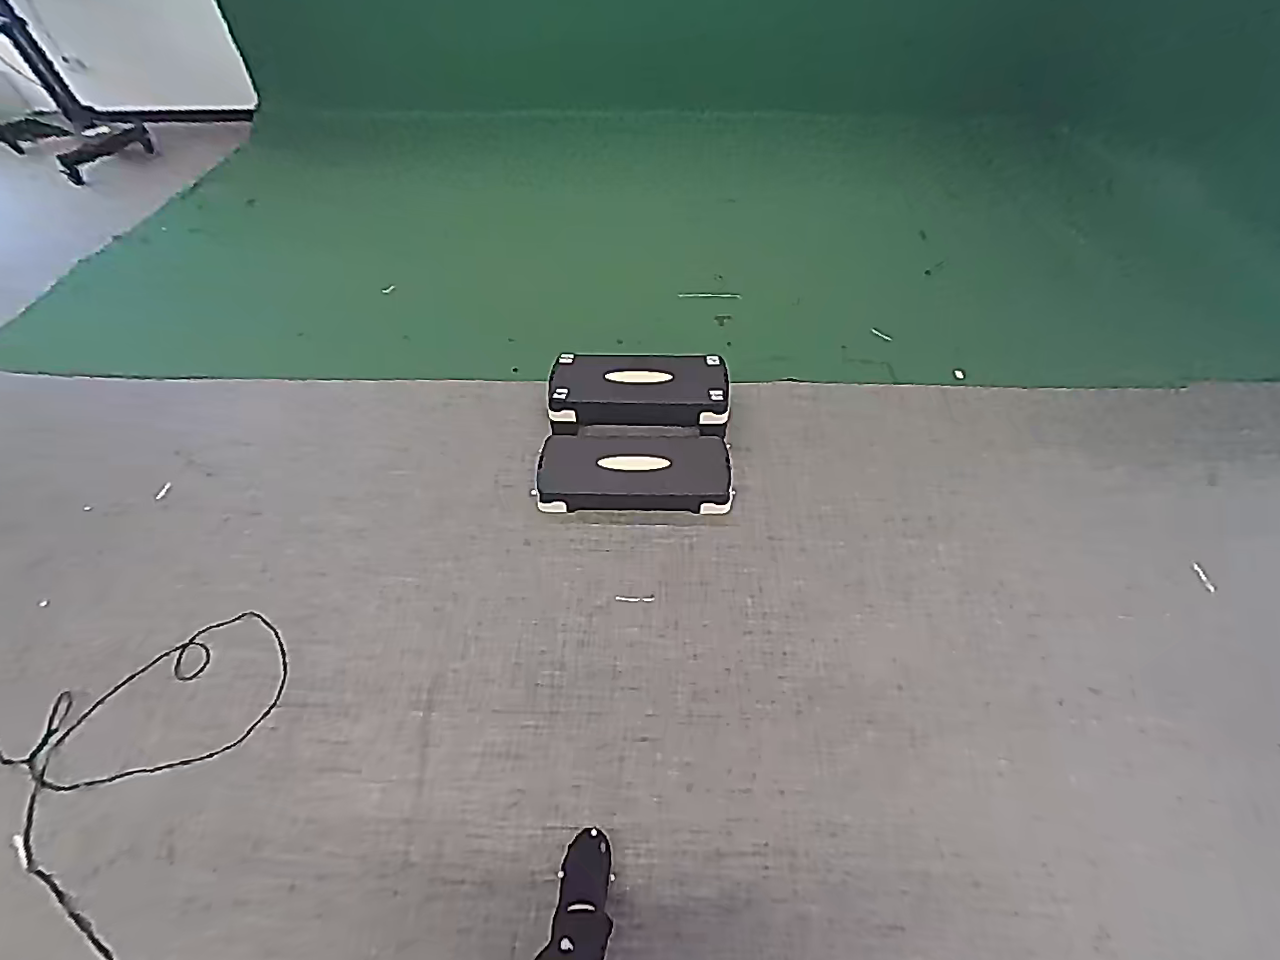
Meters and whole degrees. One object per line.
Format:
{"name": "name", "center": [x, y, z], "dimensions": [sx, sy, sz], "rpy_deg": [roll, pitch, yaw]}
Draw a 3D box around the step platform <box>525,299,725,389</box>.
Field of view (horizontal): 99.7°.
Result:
{"name": "step platform", "center": [-0.049, -0.480, 1.921], "dimensions": [0.684, 0.204, 0.286], "rpy_deg": [0, 51, 2]}
